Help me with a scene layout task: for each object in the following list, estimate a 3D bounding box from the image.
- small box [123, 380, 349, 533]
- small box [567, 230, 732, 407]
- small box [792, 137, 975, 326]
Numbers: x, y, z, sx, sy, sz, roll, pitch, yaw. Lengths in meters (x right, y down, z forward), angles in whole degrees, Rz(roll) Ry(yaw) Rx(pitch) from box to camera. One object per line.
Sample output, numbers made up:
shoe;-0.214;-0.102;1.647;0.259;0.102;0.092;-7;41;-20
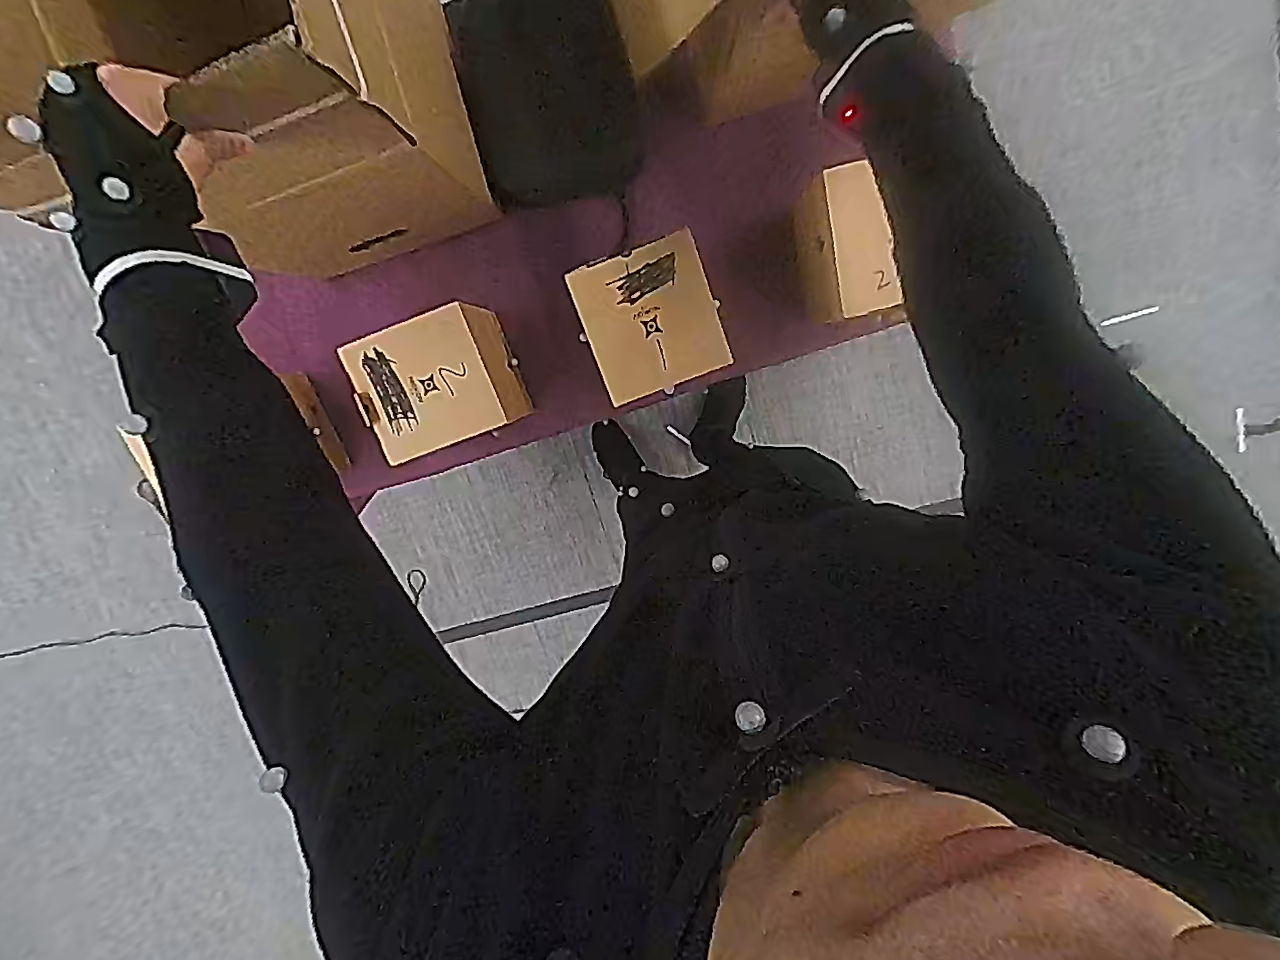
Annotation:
small box;-0.587;-0.043;0.811;0.179;0.176;0.168;-20;101;5
small box;0.014;-0.216;0.754;0.168;0.176;0.179;-19;103;7
small box;0.311;-0.314;0.721;0.168;0.176;0.179;-12;102;6
